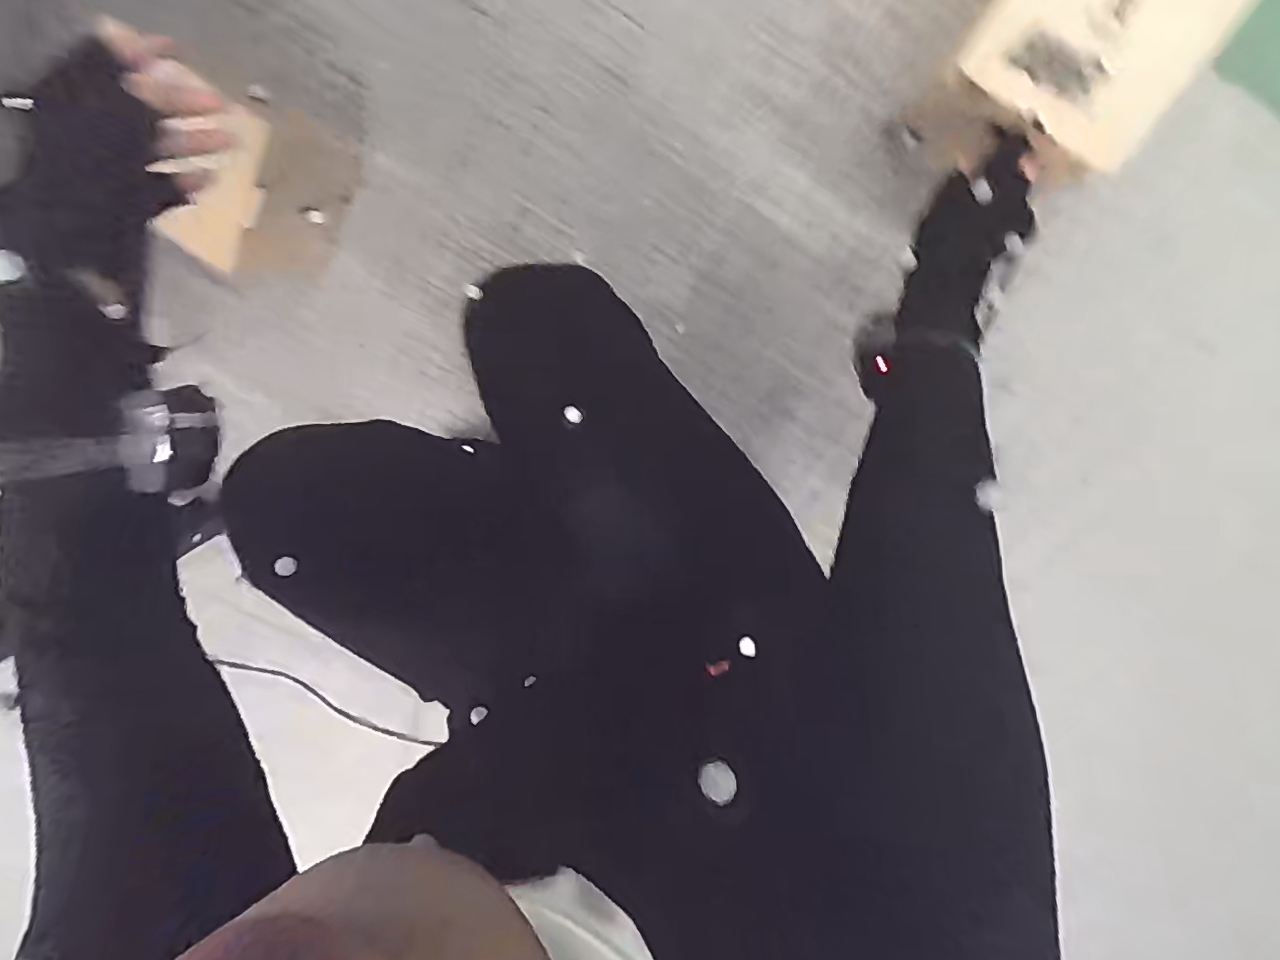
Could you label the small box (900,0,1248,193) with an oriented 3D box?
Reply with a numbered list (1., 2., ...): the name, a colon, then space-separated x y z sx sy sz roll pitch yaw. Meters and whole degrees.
1. small box: 0.373 -0.394 0.501 0.168 0.176 0.179 31 113 -7
